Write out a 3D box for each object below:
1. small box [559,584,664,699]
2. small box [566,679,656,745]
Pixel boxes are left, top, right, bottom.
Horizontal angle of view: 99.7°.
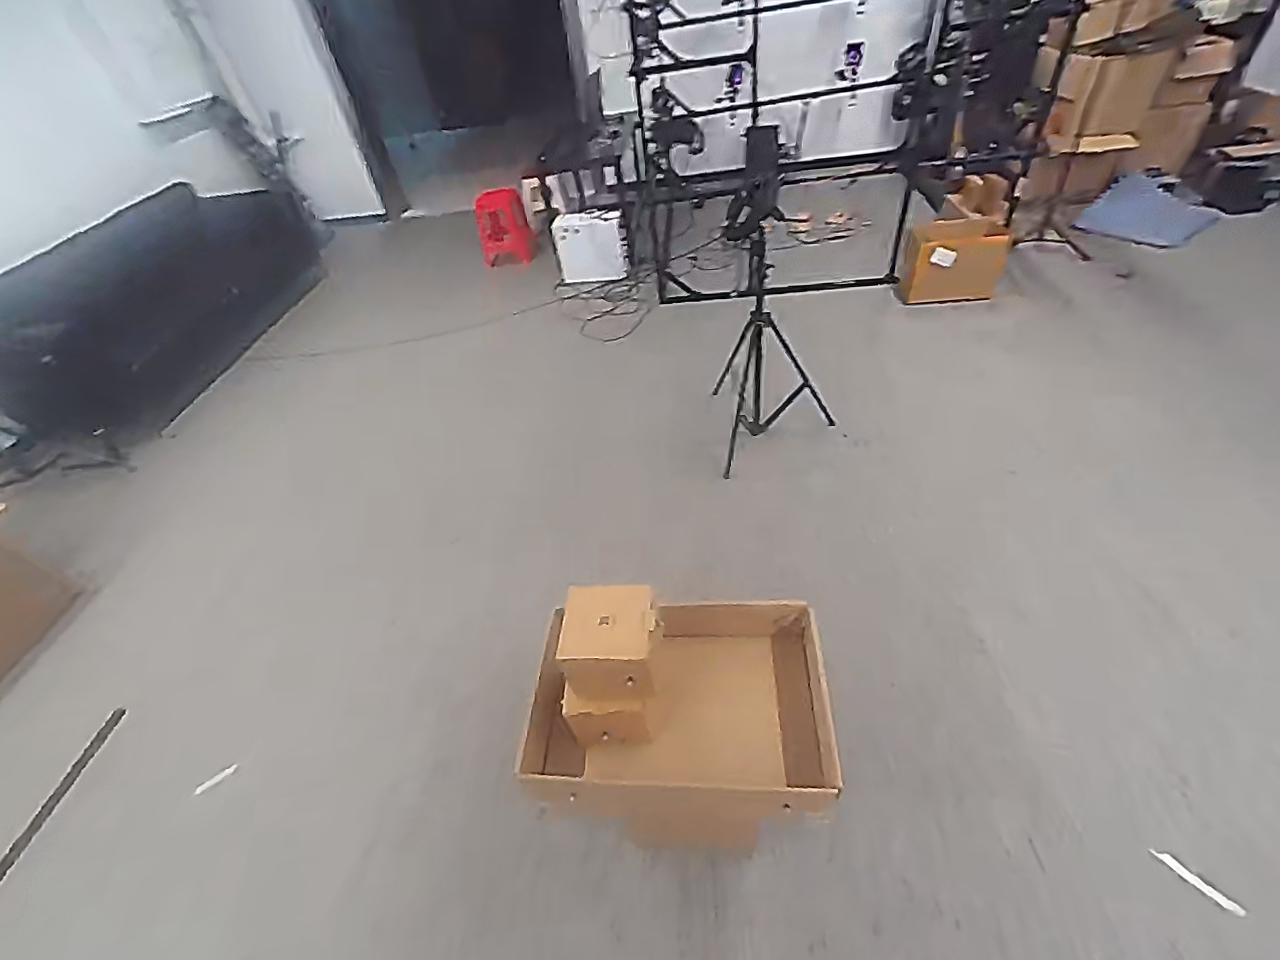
[{"bbox_3d":[-0.047,0.327,1.093,0.179,0.176,0.168,-2,43,9],"label":"small box"},{"bbox_3d":[-0.057,0.461,1.194,0.168,0.176,0.179,-6,44,6],"label":"small box"}]
